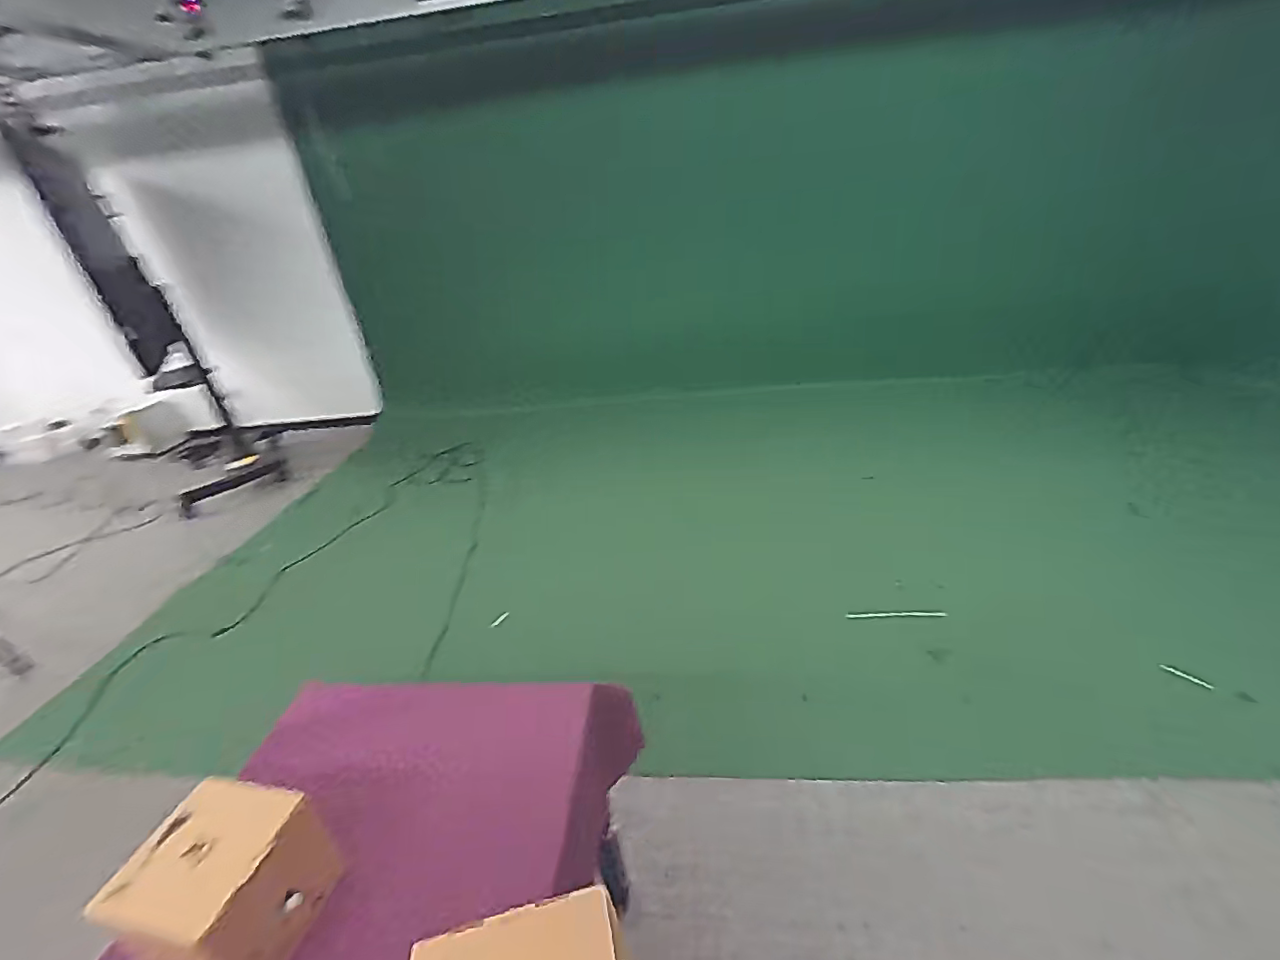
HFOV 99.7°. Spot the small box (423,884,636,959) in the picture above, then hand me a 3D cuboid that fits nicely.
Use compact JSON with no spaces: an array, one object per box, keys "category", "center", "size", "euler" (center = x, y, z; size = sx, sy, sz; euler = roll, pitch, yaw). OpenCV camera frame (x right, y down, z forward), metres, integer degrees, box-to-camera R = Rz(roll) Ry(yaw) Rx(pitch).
[{"category":"small box","center":[-0.076,0.477,0.433],"size":[0.168,0.176,0.179],"euler":[-13,34,-6]}]

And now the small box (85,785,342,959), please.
[{"category":"small box","center":[-0.537,0.542,0.712],"size":[0.179,0.176,0.168],"euler":[1,29,13]}]
